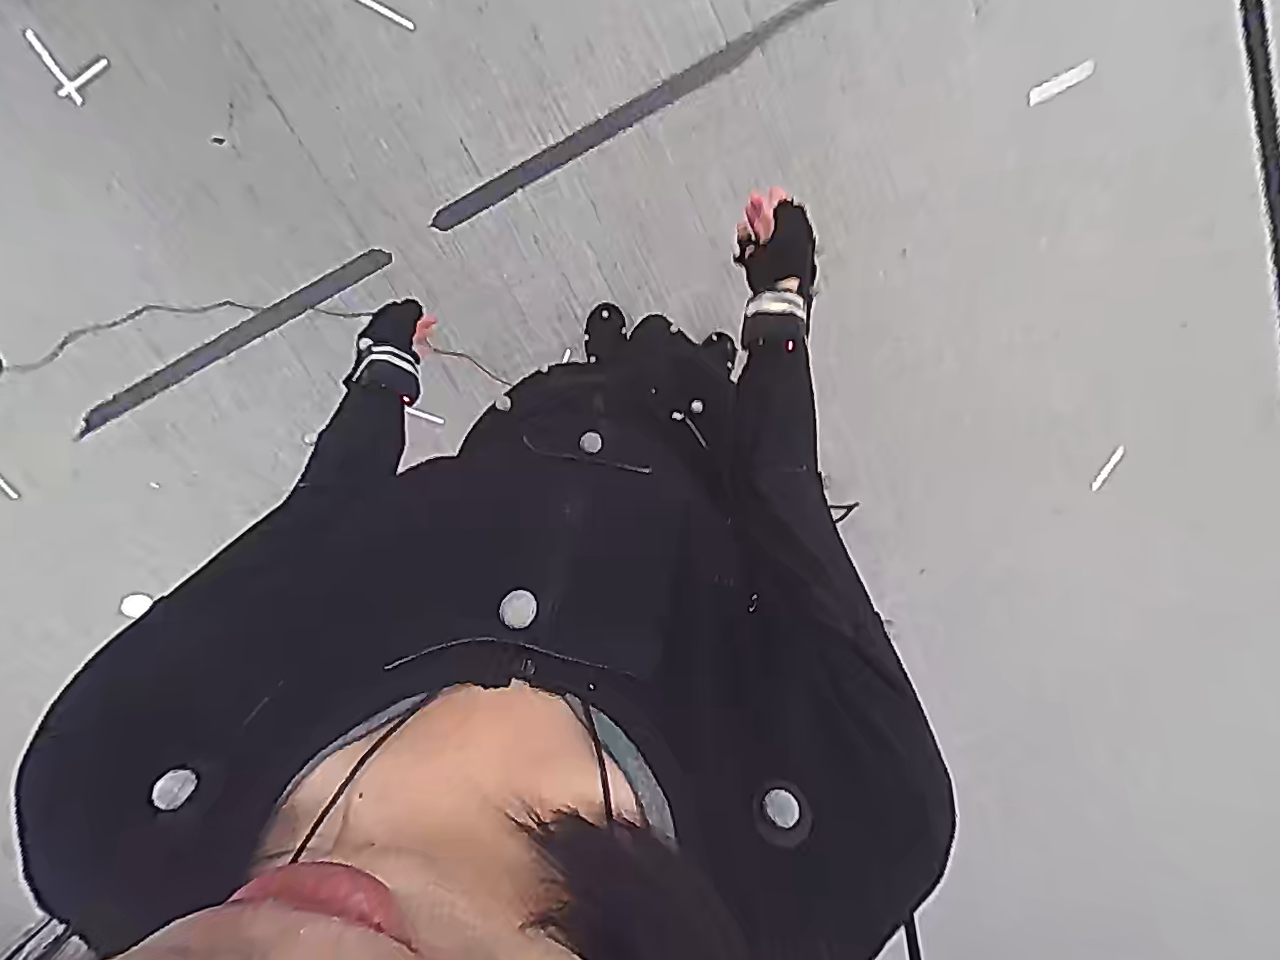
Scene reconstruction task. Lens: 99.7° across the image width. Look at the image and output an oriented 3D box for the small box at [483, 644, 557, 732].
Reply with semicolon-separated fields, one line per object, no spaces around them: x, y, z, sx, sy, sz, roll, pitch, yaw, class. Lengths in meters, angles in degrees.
-0.360;0.634;1.658;0.168;0.176;0.179;-11;108;2;small box
